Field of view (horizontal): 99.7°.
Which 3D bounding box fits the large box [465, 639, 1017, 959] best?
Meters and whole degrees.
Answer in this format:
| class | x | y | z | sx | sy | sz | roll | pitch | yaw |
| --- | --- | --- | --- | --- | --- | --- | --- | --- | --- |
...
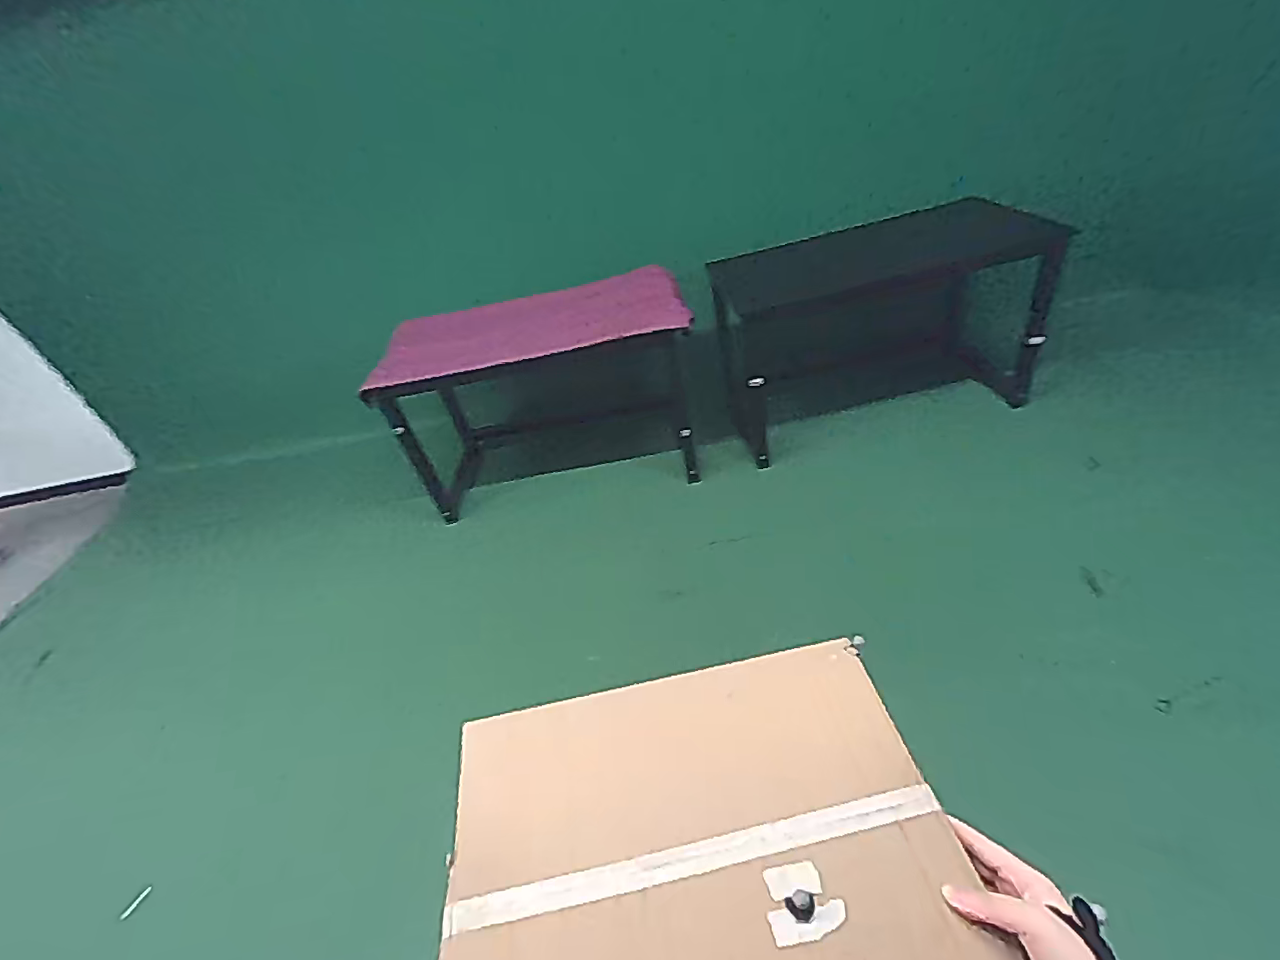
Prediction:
| class | x | y | z | sx | sy | sz | roll | pitch | yaw |
| --- | --- | --- | --- | --- | --- | --- | --- | --- | --- |
| large box | 0.064 | 0.415 | 0.551 | 0.408 | 0.320 | 0.320 | -10 | 43 | -4 |
